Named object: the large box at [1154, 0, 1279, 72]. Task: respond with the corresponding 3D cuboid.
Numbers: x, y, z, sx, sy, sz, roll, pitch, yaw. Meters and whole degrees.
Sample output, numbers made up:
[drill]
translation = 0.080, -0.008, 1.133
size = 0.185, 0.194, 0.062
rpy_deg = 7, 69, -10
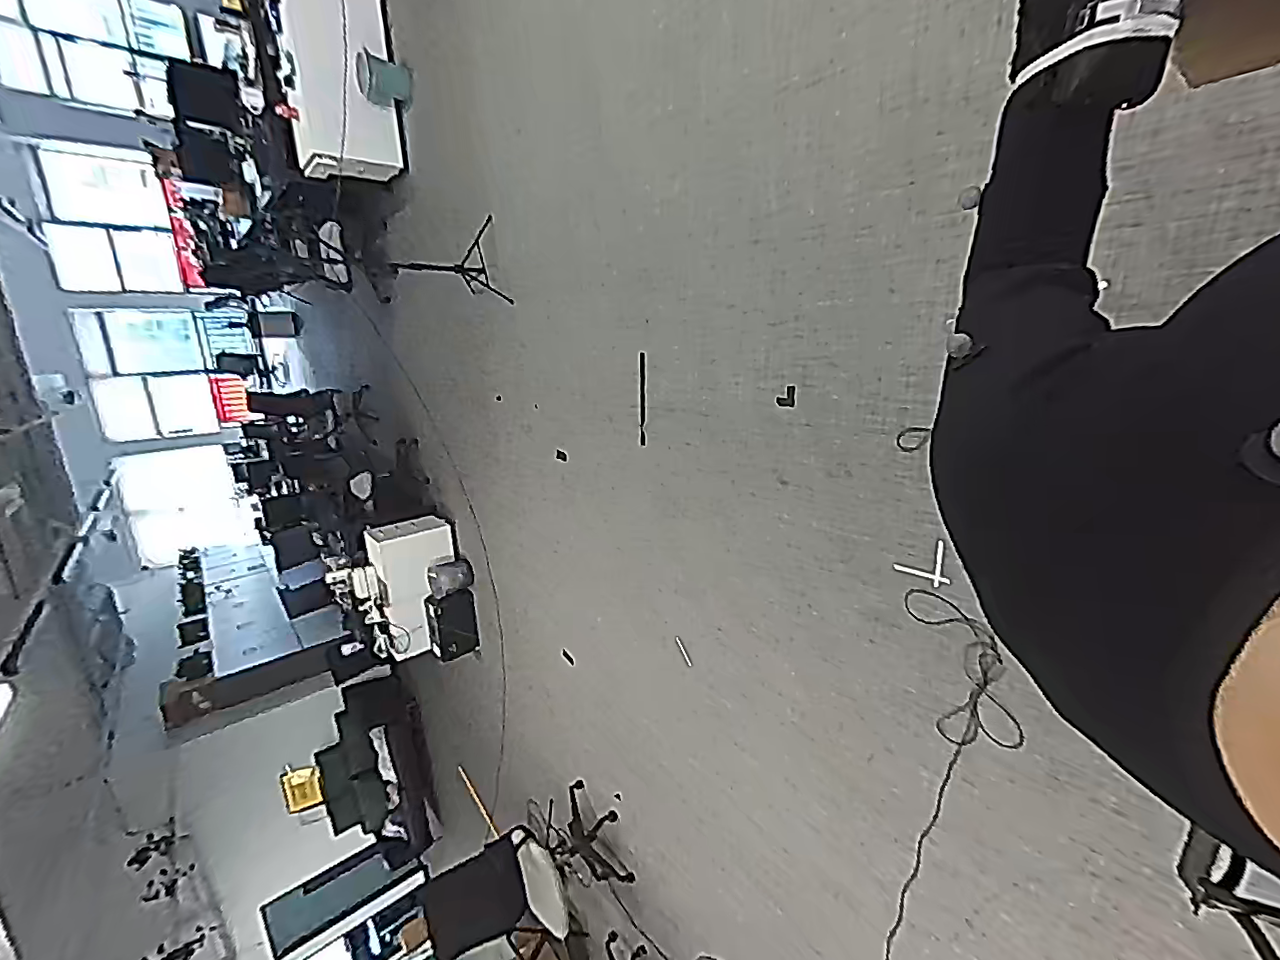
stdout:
[large box]
translation = 0.557, -0.490, 0.270
size = 0.408, 0.320, 0.320
rpy_deg = 11, 115, 47
